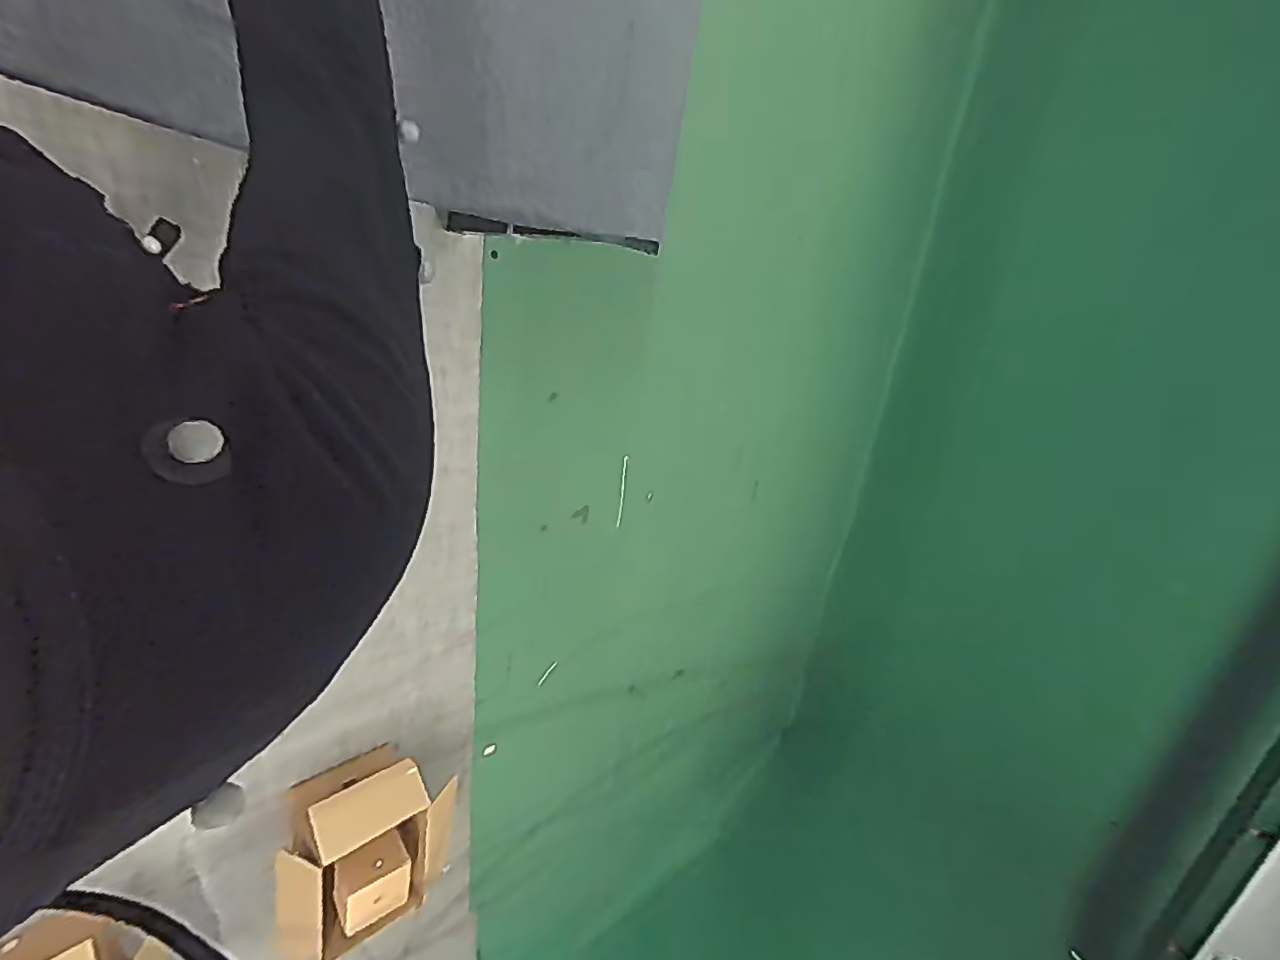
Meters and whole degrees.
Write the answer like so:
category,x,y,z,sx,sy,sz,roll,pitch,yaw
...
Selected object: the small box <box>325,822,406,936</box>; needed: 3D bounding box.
category,x,y,z,sx,sy,sz,roll,pitch,yaw
small box,-0.818,1.174,1.606,0.179,0.176,0.168,-7,114,-45
